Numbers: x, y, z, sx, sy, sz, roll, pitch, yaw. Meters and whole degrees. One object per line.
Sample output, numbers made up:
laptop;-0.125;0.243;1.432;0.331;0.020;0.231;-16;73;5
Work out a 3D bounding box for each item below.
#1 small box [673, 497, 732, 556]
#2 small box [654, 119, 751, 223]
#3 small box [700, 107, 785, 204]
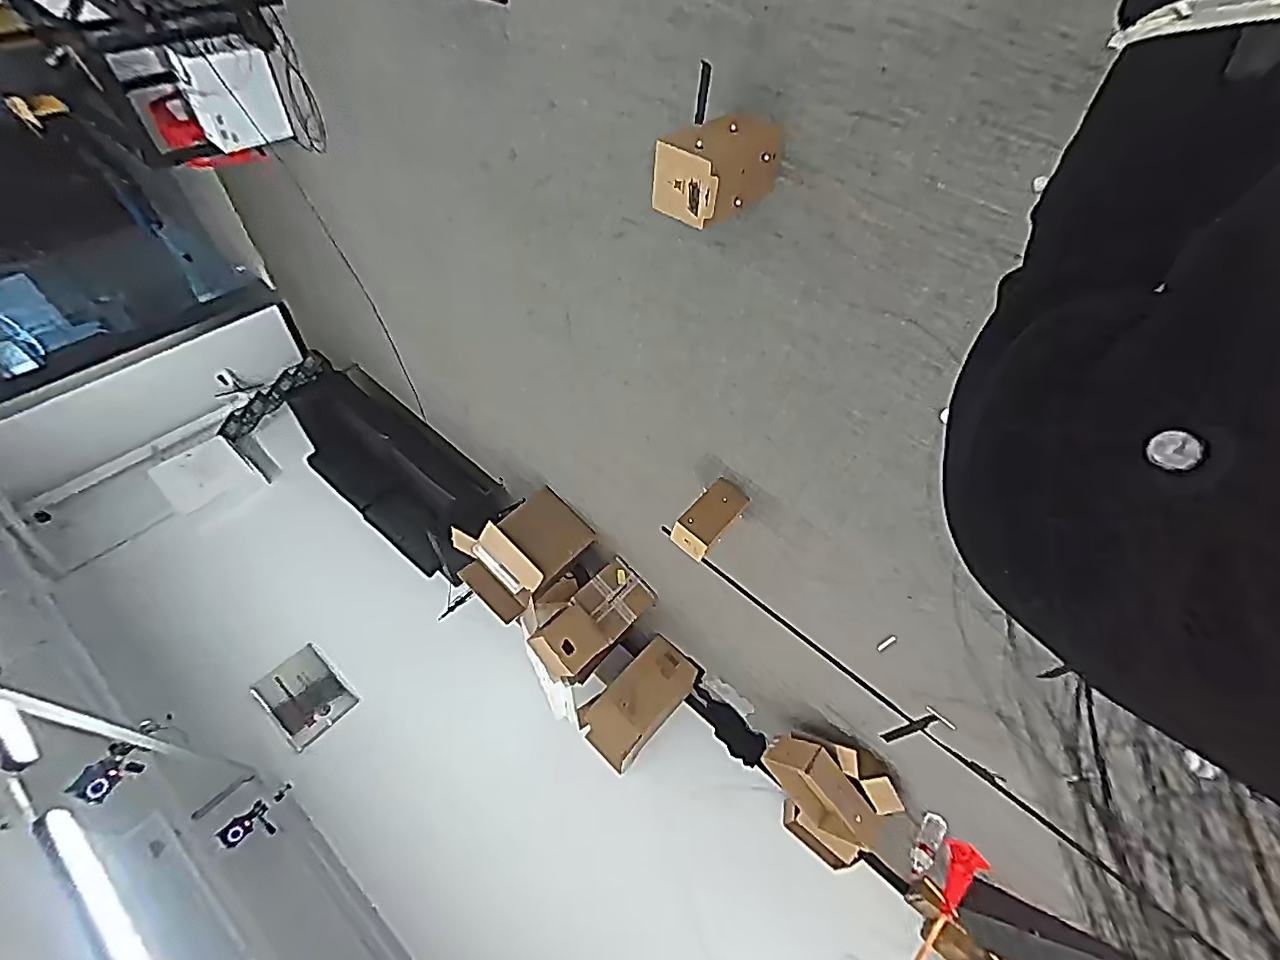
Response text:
small box;0.275;0.197;2.394;0.179;0.176;0.168;38;150;15
small box;0.159;-0.793;1.381;0.179;0.176;0.168;35;148;22
small box;0.265;-0.886;1.466;0.179;0.176;0.168;35;147;23
